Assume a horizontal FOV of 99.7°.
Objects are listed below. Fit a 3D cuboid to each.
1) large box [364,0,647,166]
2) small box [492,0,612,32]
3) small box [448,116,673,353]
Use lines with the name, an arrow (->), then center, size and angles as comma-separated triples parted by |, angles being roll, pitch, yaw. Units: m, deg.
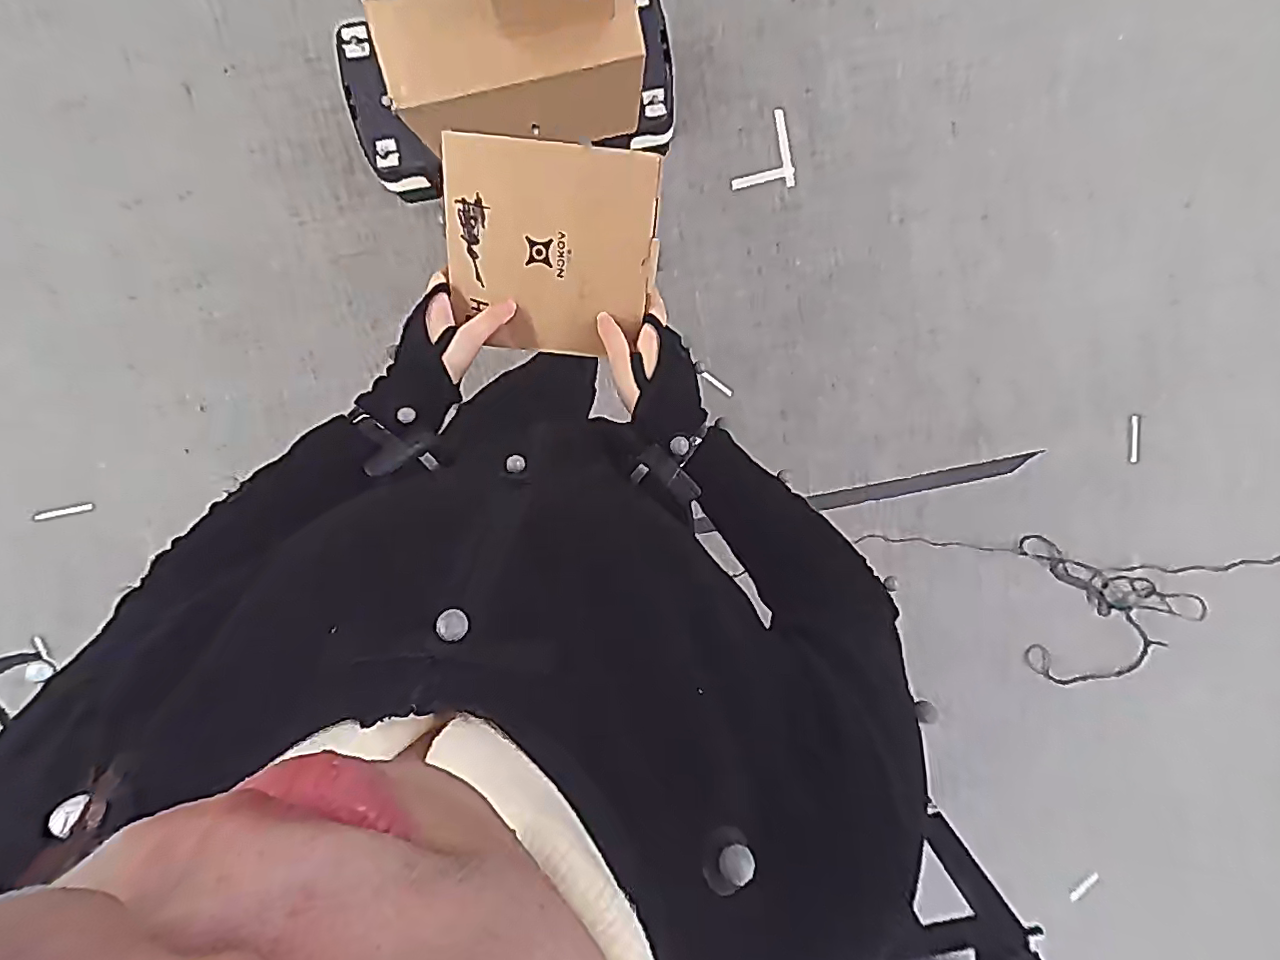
large box -> -0.219, -0.786, 0.942 | 0.408, 0.320, 0.320 | -13, 103, 1
small box -> -0.127, -0.734, 0.706 | 0.179, 0.176, 0.168 | -11, 104, 0
small box -> -0.068, -0.229, 0.519 | 0.179, 0.176, 0.168 | 6, 114, -2
